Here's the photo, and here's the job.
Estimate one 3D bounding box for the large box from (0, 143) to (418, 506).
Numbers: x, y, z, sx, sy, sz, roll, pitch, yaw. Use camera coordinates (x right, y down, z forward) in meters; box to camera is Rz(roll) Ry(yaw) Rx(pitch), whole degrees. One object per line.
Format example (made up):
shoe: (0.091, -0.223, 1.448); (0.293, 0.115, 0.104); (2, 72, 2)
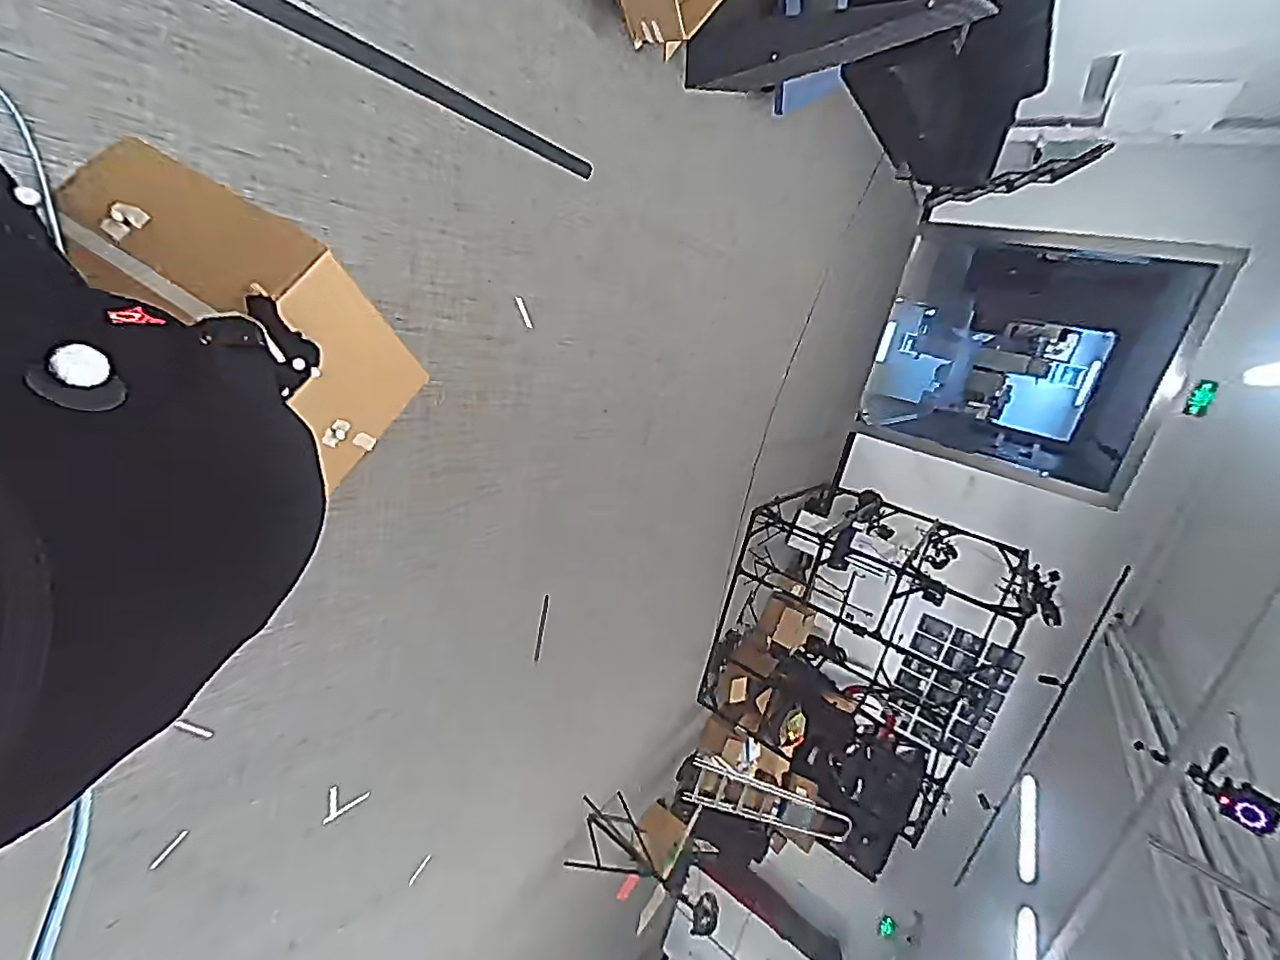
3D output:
large box: (-0.641, -0.214, 0.824); (0.320, 0.408, 0.320); (-56, 166, -15)
